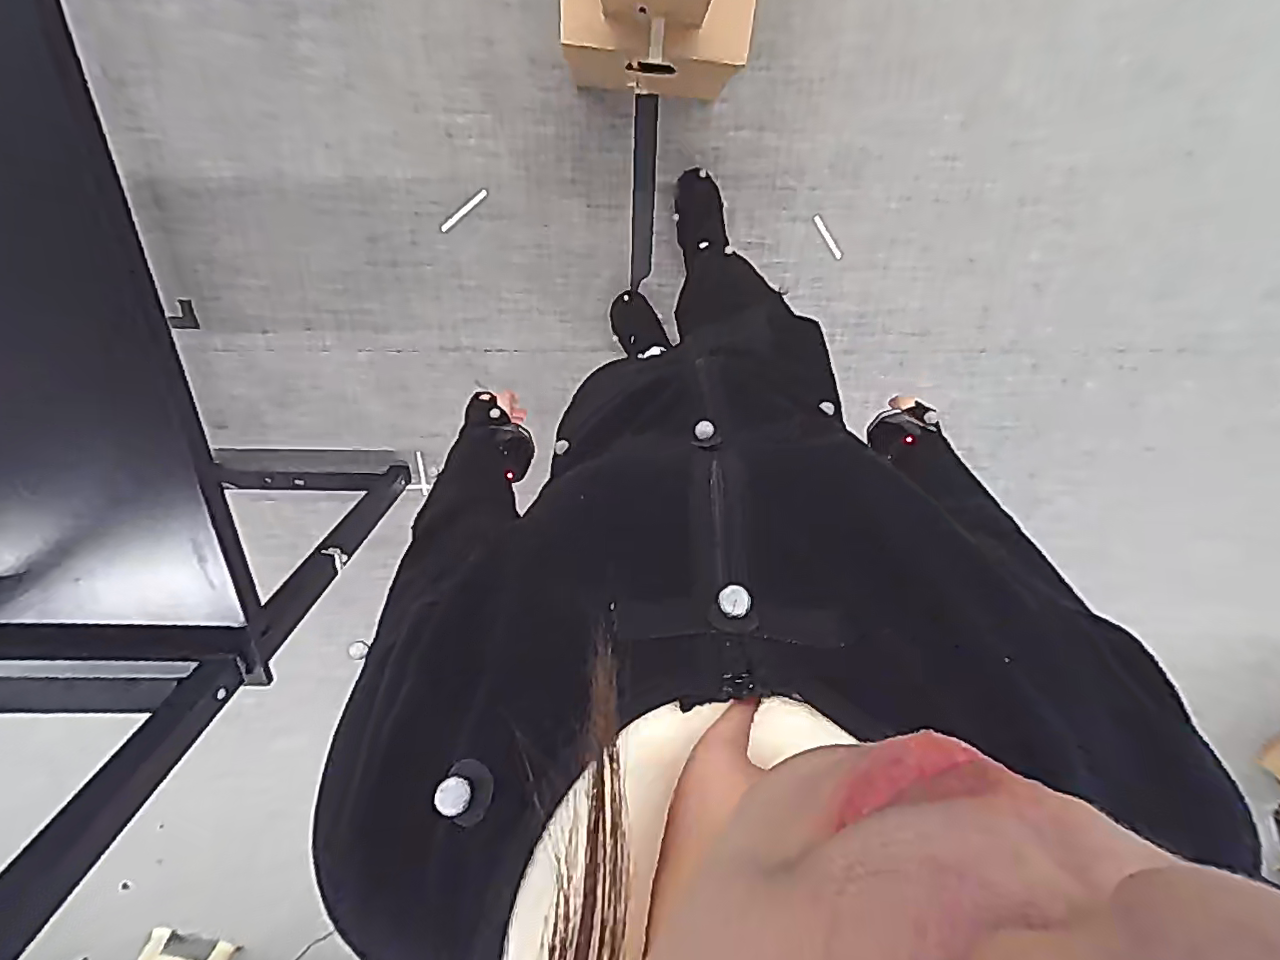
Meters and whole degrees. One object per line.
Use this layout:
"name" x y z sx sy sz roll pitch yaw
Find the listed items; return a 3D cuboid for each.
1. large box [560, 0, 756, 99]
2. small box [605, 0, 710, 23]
"large box" 0.034 -0.942 0.939 0.320 0.320 0.408 3 115 -5
"small box" 0.029 -0.777 0.747 0.168 0.176 0.179 4 116 -3
